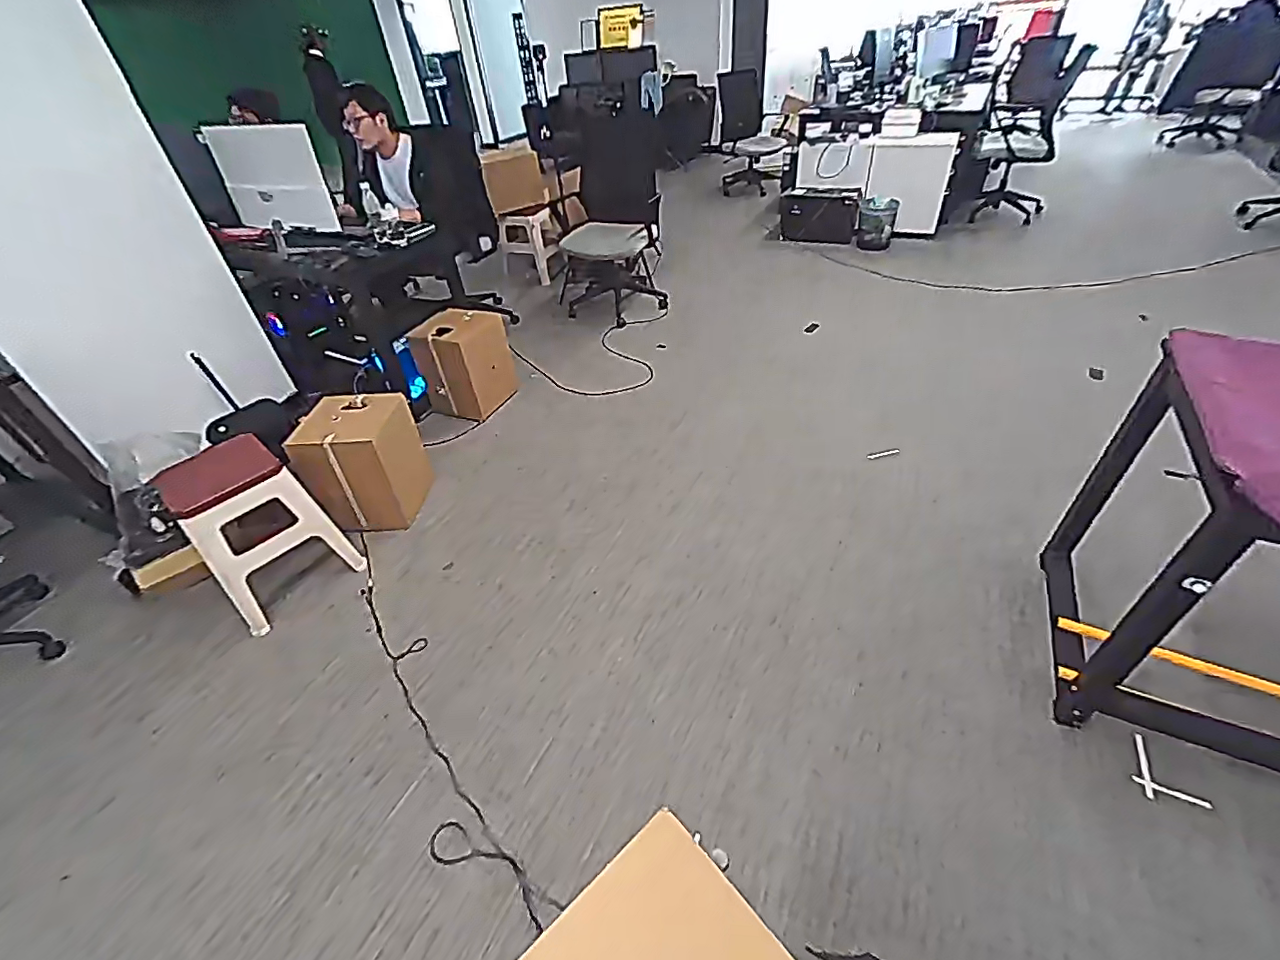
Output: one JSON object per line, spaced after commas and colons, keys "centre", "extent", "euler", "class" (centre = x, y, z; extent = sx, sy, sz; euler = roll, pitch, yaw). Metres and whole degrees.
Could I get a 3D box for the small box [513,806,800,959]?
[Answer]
{"centre": [0.022, 0.369, 0.357], "extent": [0.168, 0.176, 0.179], "euler": [-34, 51, -25], "class": "small box"}
